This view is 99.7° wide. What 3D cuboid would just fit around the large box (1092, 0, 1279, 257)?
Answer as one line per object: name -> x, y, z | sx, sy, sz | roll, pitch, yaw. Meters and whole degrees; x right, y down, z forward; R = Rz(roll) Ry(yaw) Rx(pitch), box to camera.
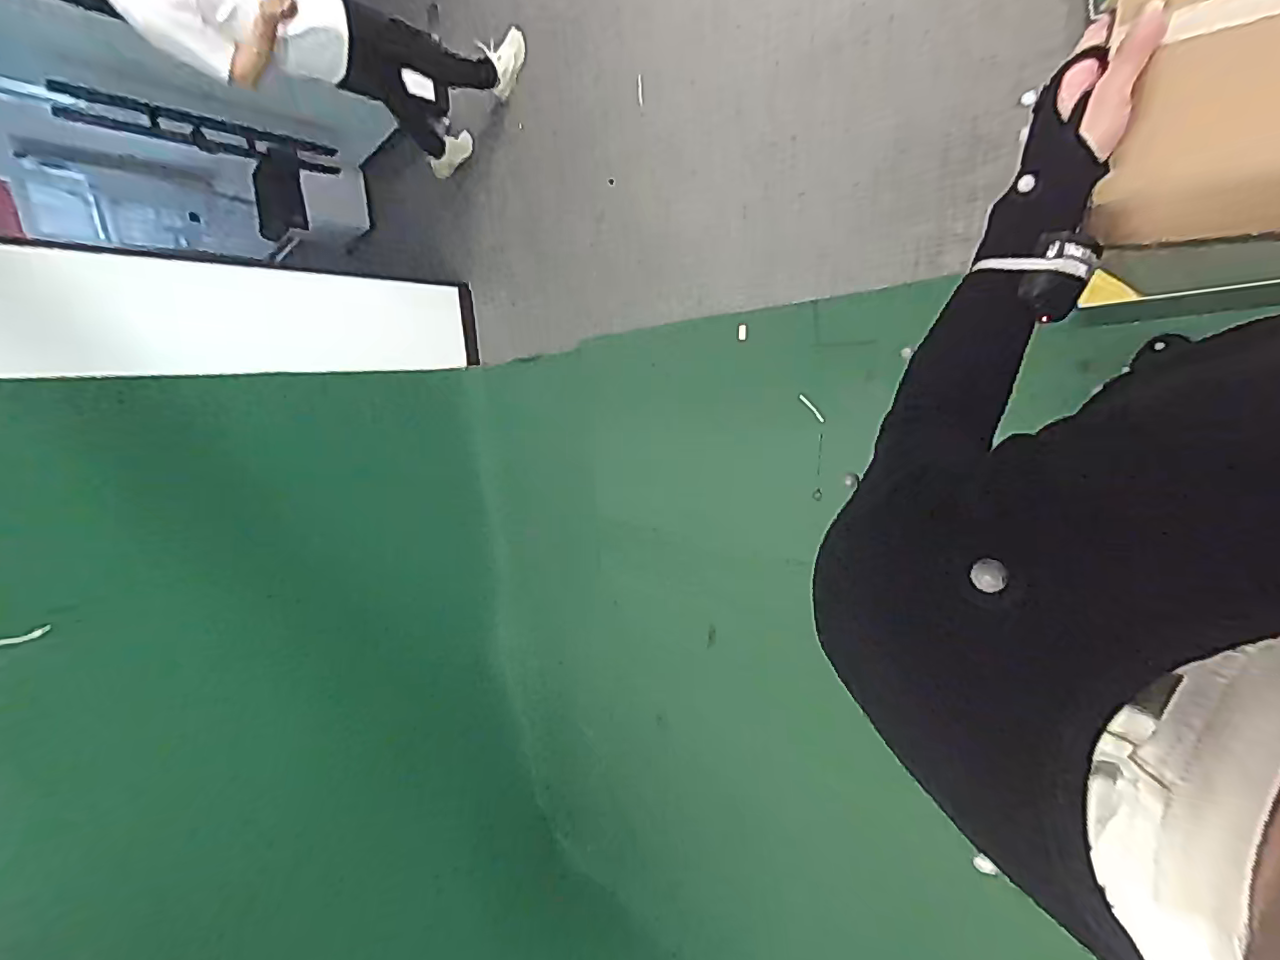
large box -> 0.641, -0.365, 0.418 | 0.408, 0.320, 0.320 | 12, 114, 41
